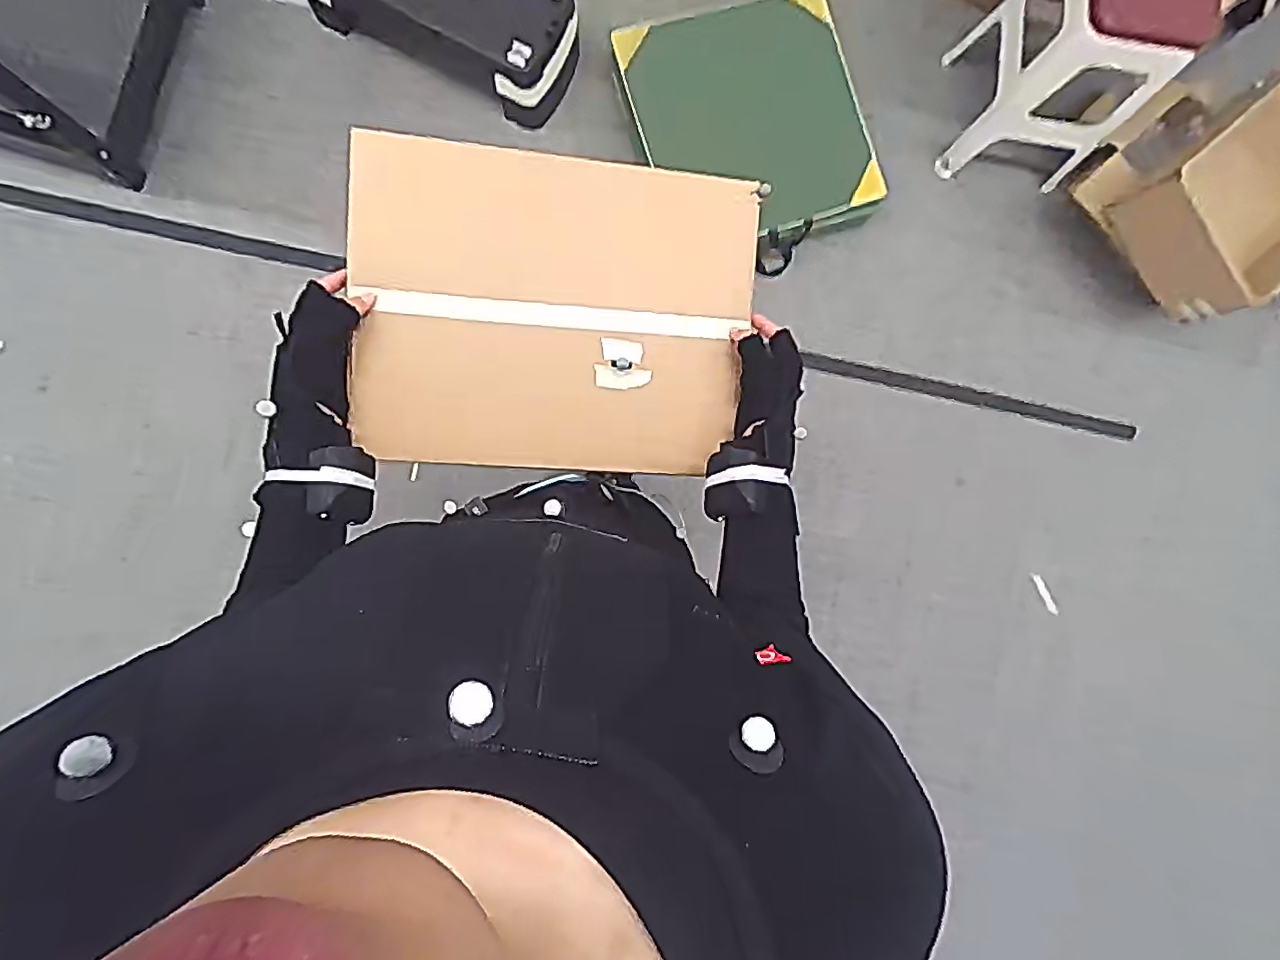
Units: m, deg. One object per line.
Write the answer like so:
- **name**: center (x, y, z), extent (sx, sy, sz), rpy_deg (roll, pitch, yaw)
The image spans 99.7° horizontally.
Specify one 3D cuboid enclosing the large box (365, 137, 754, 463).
- **large box**: center (-0.102, -0.190, 0.715), extent (0.408, 0.320, 0.320), rpy_deg (3, 95, -9)
